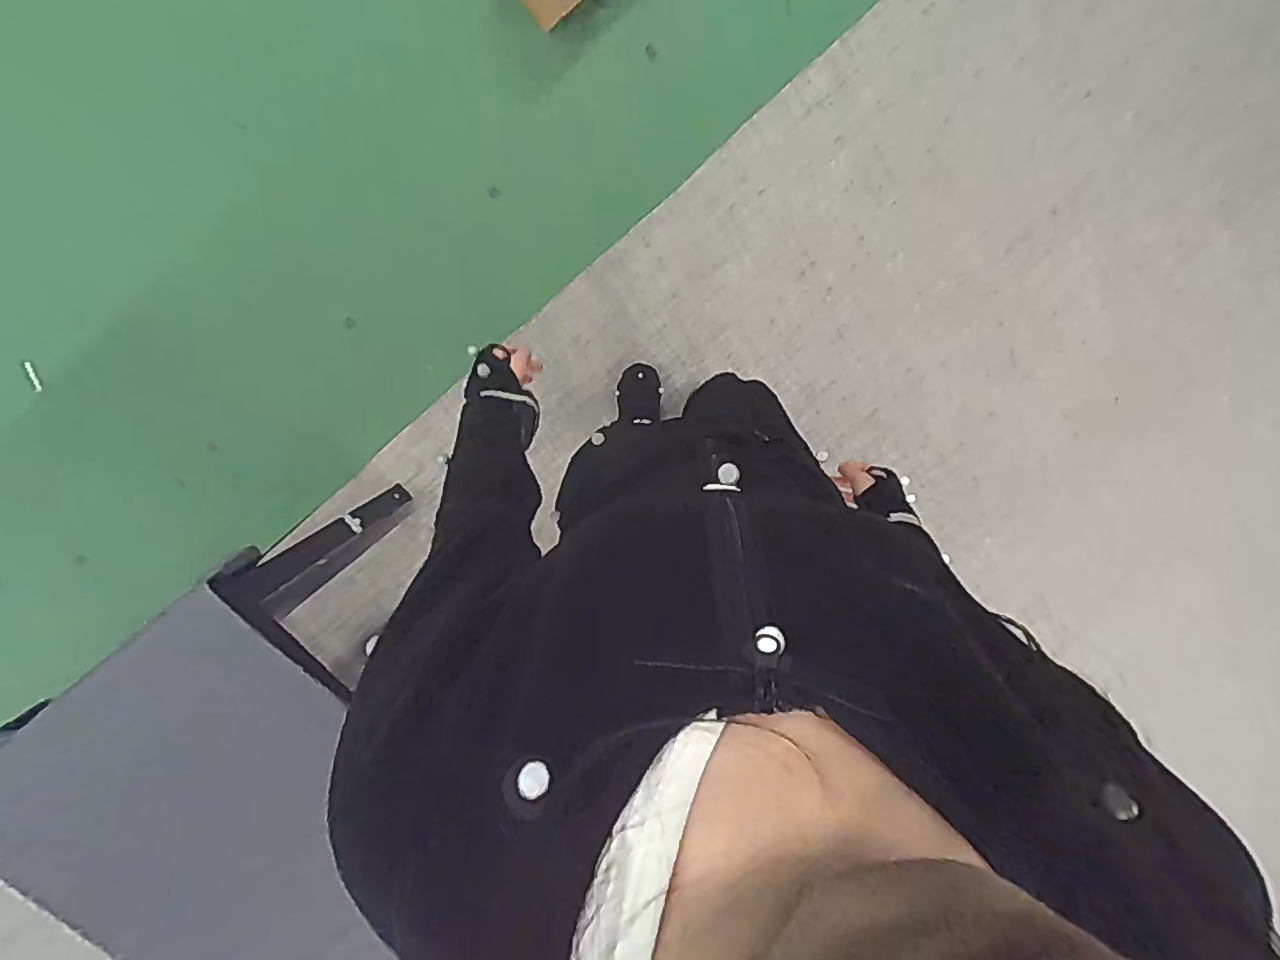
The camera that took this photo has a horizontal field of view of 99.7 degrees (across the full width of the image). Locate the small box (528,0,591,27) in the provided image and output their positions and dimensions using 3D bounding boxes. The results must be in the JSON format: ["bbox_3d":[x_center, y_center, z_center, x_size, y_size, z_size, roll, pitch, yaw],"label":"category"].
[{"bbox_3d":[-0.191,-1.144,1.176,0.168,0.176,0.179,-39,100,7],"label":"small box"}]
